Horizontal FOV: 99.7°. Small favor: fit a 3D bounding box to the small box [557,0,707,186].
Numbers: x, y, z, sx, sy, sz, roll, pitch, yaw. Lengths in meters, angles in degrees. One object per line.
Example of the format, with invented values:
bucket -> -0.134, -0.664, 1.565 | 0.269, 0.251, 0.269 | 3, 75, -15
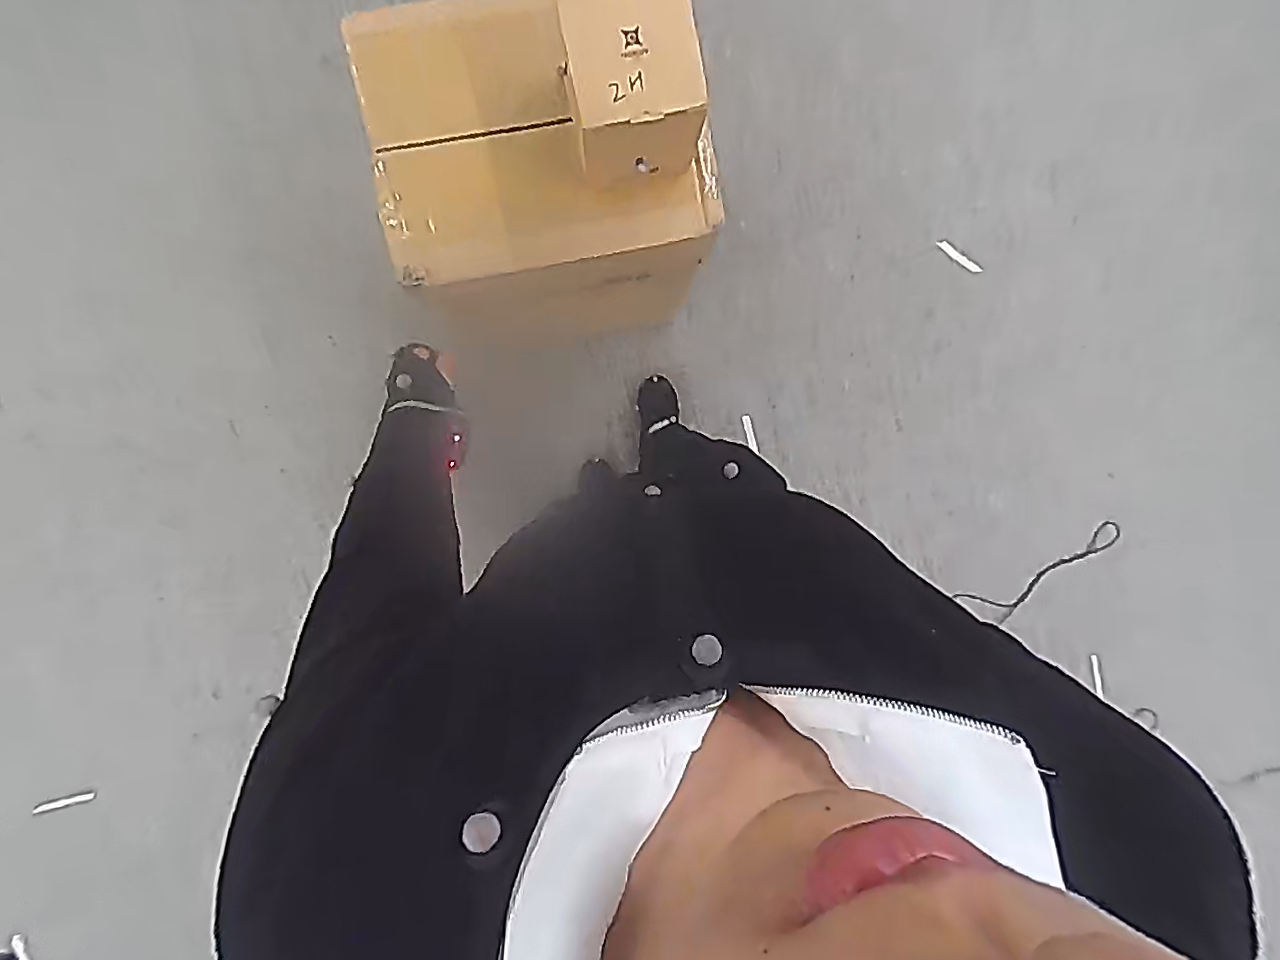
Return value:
small box -> -0.016, -0.545, 0.751 | 0.168, 0.176, 0.179 | -12, 96, -3
